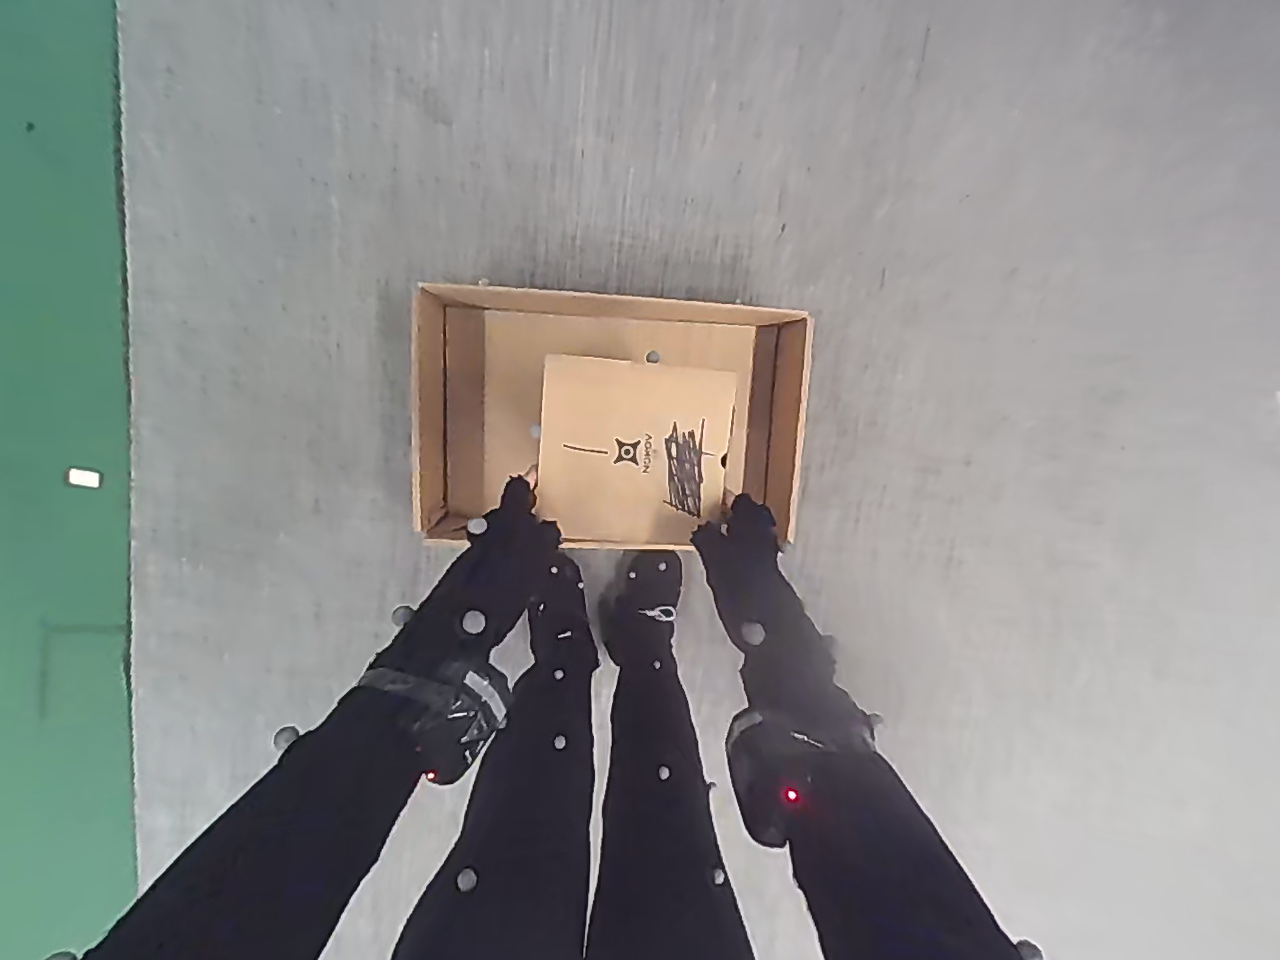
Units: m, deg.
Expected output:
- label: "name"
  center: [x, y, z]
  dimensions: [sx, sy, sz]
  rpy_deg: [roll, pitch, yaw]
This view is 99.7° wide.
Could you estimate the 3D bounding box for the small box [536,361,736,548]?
- label: "small box"
  center: [-0.011, -0.033, 0.577]
  dimensions: [0.179, 0.176, 0.168]
  rpy_deg: [4, 98, -5]
